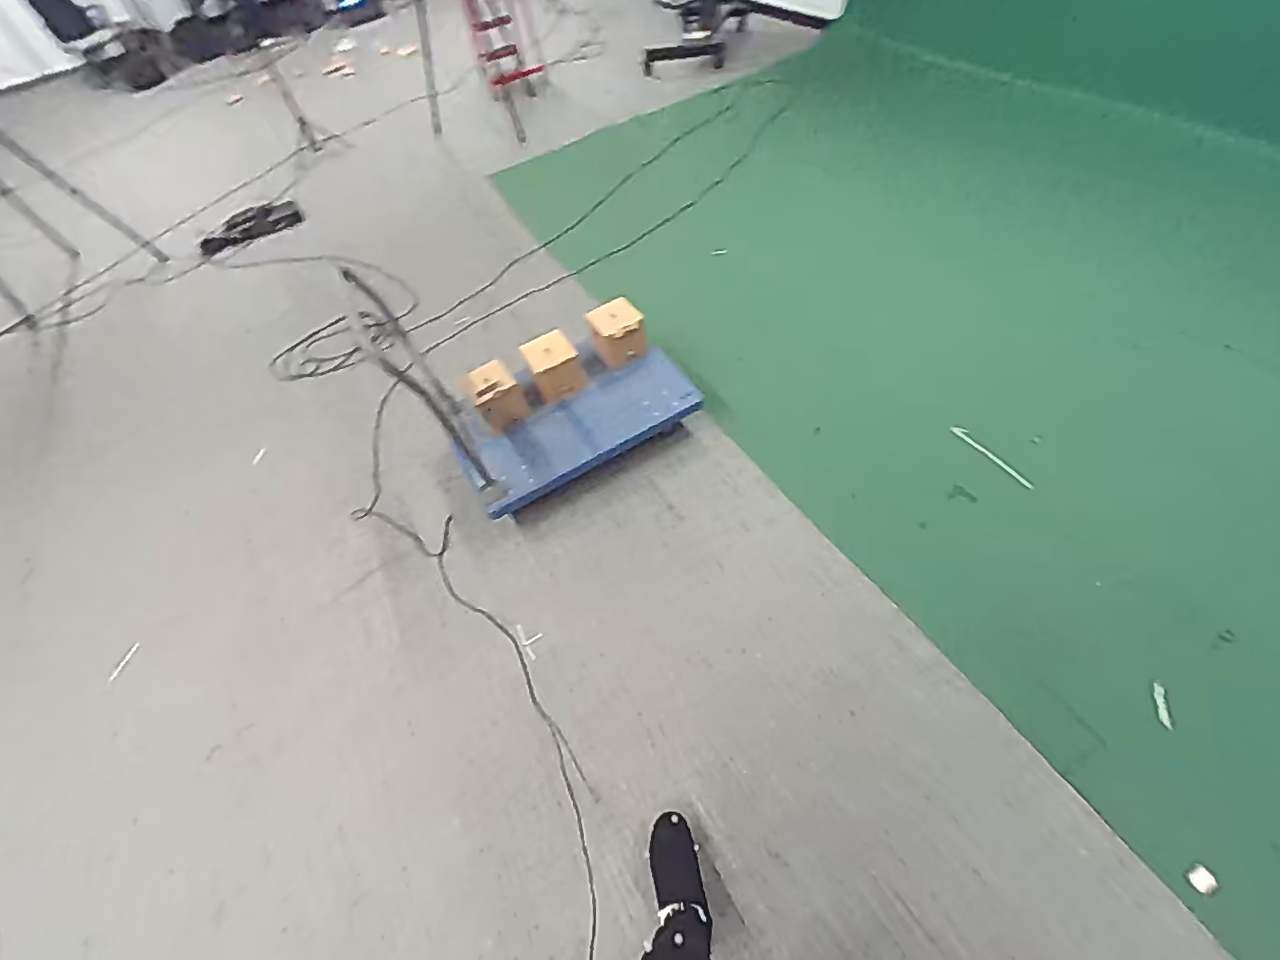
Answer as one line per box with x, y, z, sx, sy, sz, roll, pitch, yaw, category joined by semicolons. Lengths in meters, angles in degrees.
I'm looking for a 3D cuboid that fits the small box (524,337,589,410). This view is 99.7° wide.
-0.311;-0.398;2.032;0.168;0.176;0.179;-29;56;-12;small box

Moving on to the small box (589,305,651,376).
-0.074;-0.536;2.088;0.168;0.176;0.179;-30;55;-11;small box
